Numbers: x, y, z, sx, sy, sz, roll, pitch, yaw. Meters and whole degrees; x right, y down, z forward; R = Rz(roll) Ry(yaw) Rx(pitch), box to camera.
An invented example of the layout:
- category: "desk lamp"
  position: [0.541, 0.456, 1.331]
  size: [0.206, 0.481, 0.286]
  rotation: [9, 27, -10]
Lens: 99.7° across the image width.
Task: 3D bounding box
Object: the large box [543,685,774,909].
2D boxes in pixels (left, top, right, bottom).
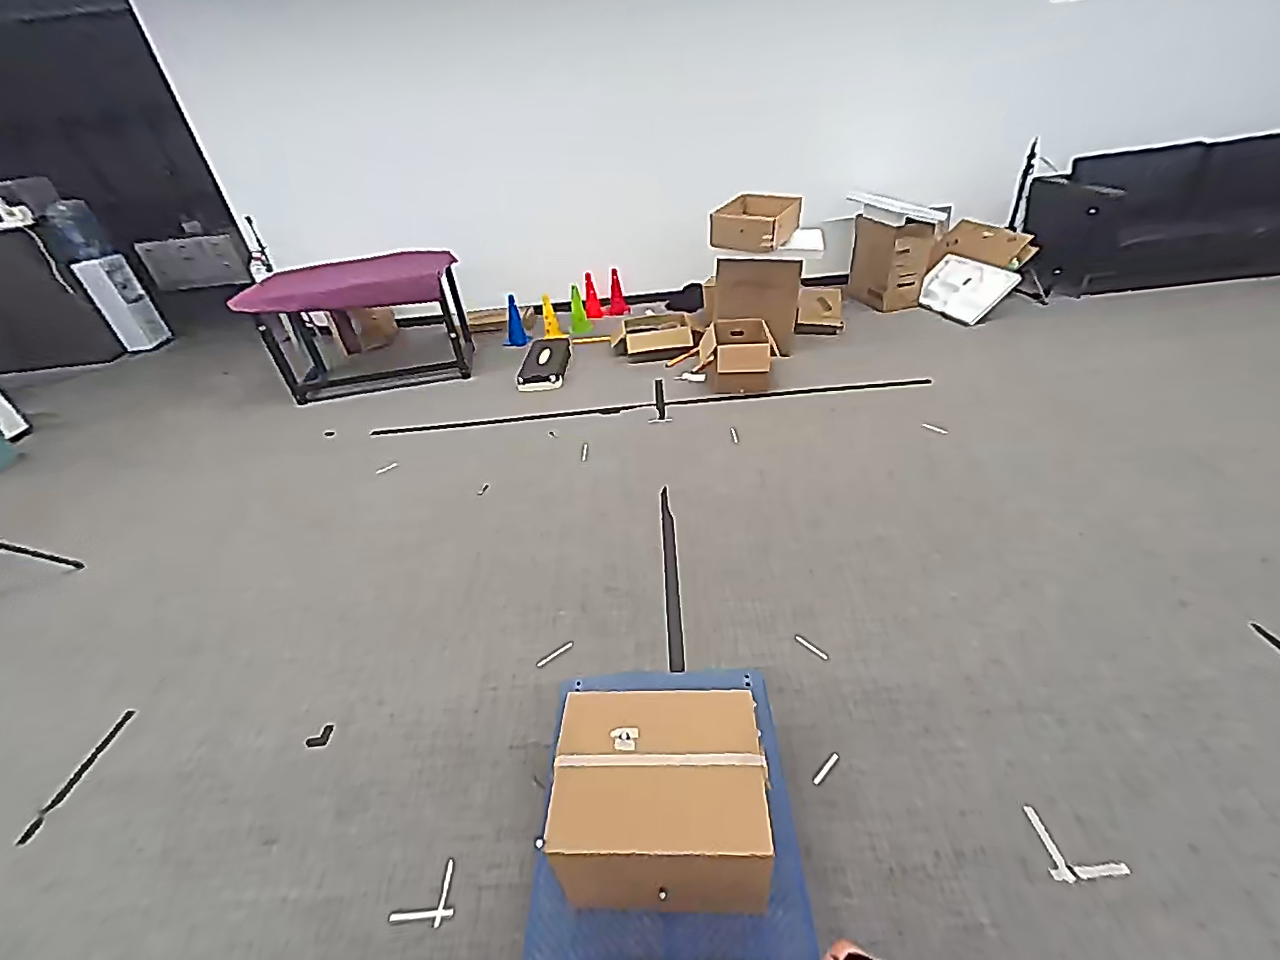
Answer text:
- category: "large box"
  position: [0.049, 0.662, 1.129]
  size: [0.408, 0.320, 0.320]
  rotation: [-4, 35, 5]
